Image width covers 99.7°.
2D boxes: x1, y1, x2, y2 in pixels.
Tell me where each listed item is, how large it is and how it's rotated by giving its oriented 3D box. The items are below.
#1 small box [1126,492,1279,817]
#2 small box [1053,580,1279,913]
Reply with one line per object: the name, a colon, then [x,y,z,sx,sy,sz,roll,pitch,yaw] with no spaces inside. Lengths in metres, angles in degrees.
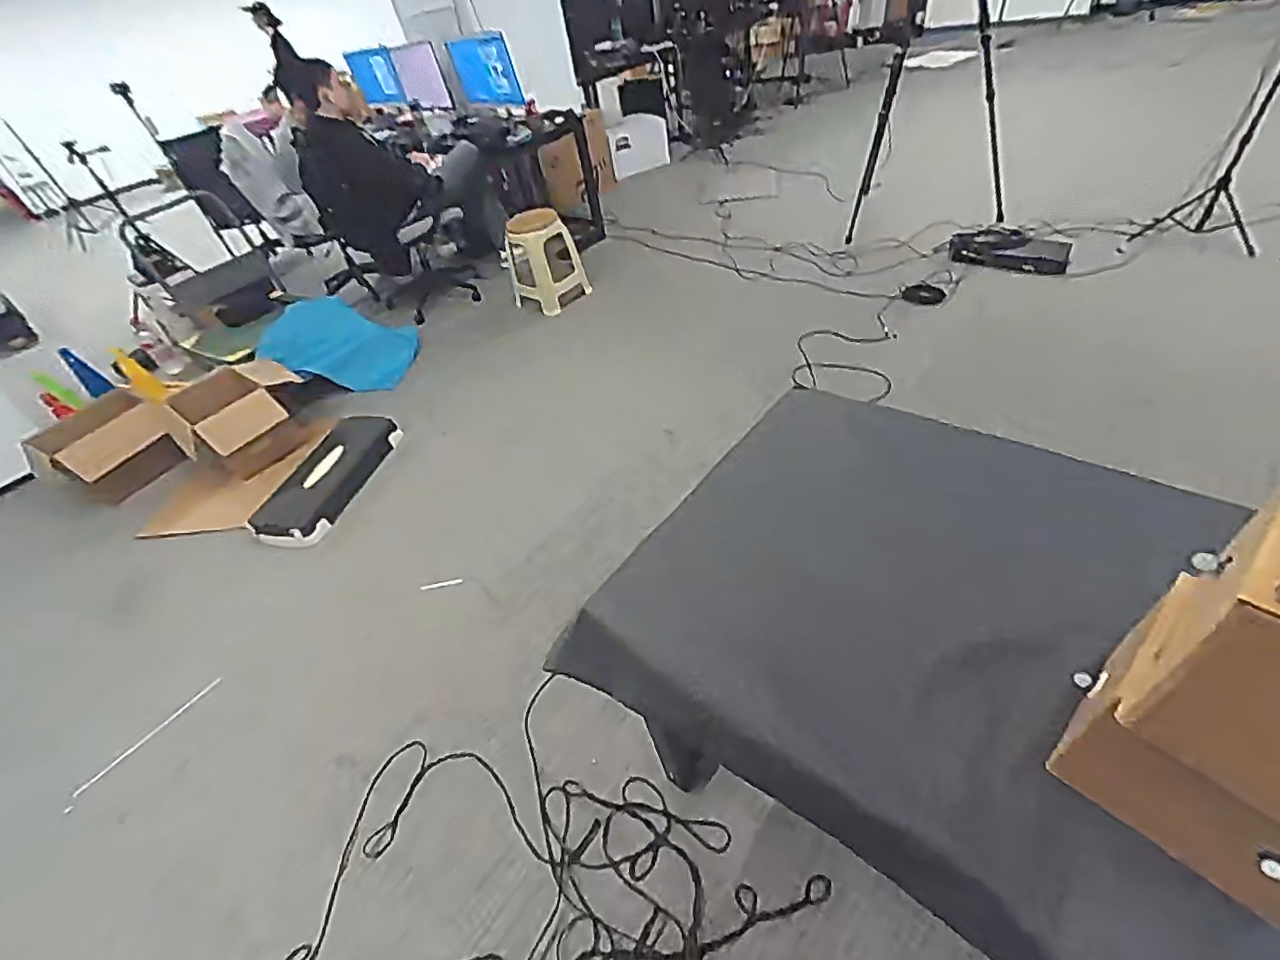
small box: [0.472,0.125,0.345,0.168,0.176,0.179,-35,48,-23]
small box: [0.511,0.229,0.466,0.168,0.176,0.179,-36,47,-24]
